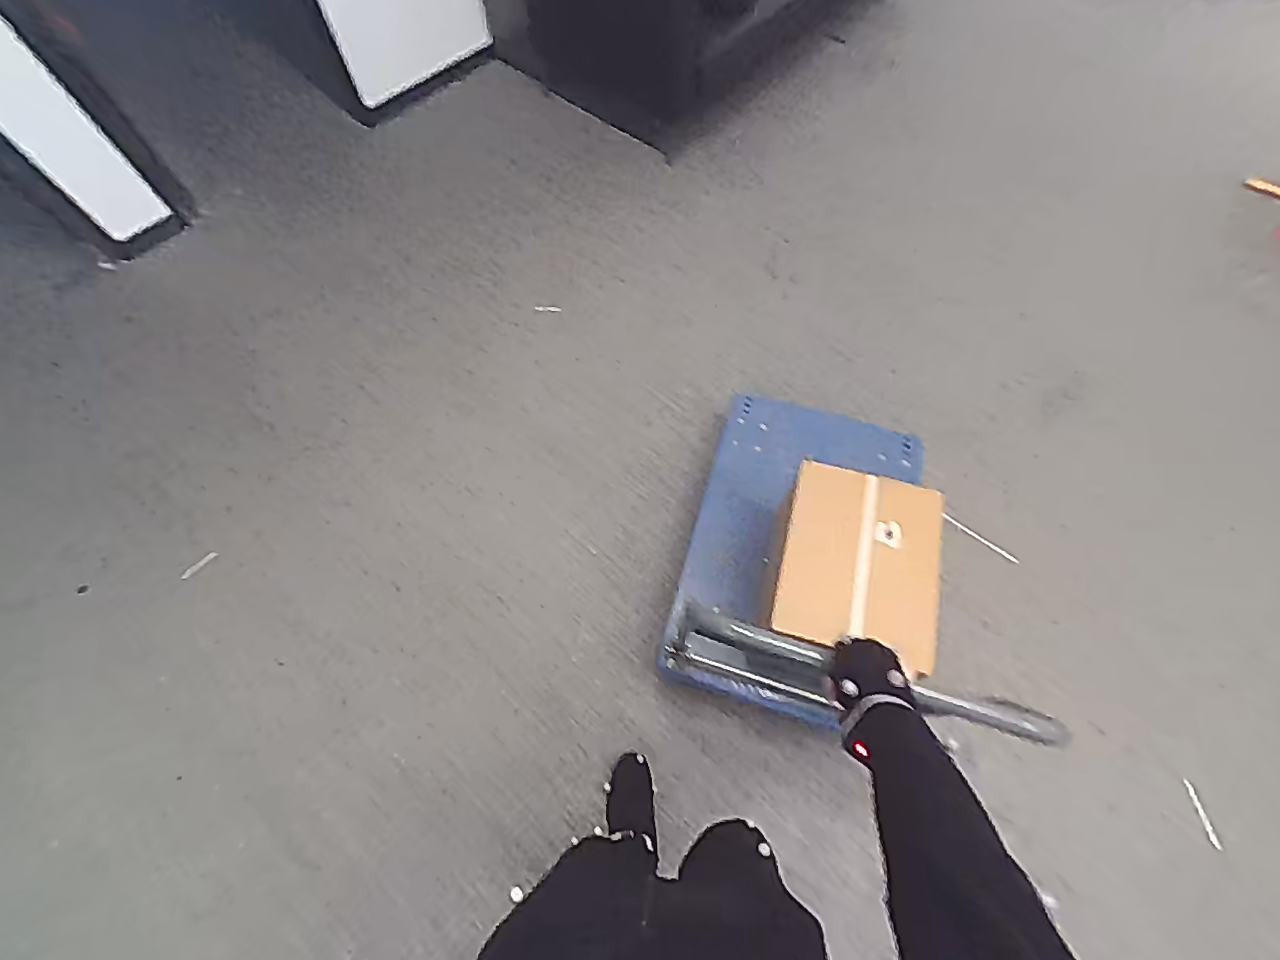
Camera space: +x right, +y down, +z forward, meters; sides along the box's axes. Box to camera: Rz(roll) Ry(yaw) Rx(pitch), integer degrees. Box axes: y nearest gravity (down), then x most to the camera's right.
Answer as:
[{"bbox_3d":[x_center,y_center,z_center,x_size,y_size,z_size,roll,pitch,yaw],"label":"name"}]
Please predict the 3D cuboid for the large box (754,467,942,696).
[{"bbox_3d":[0.471,0.243,1.261,0.320,0.320,0.408,15,63,8],"label":"large box"}]
